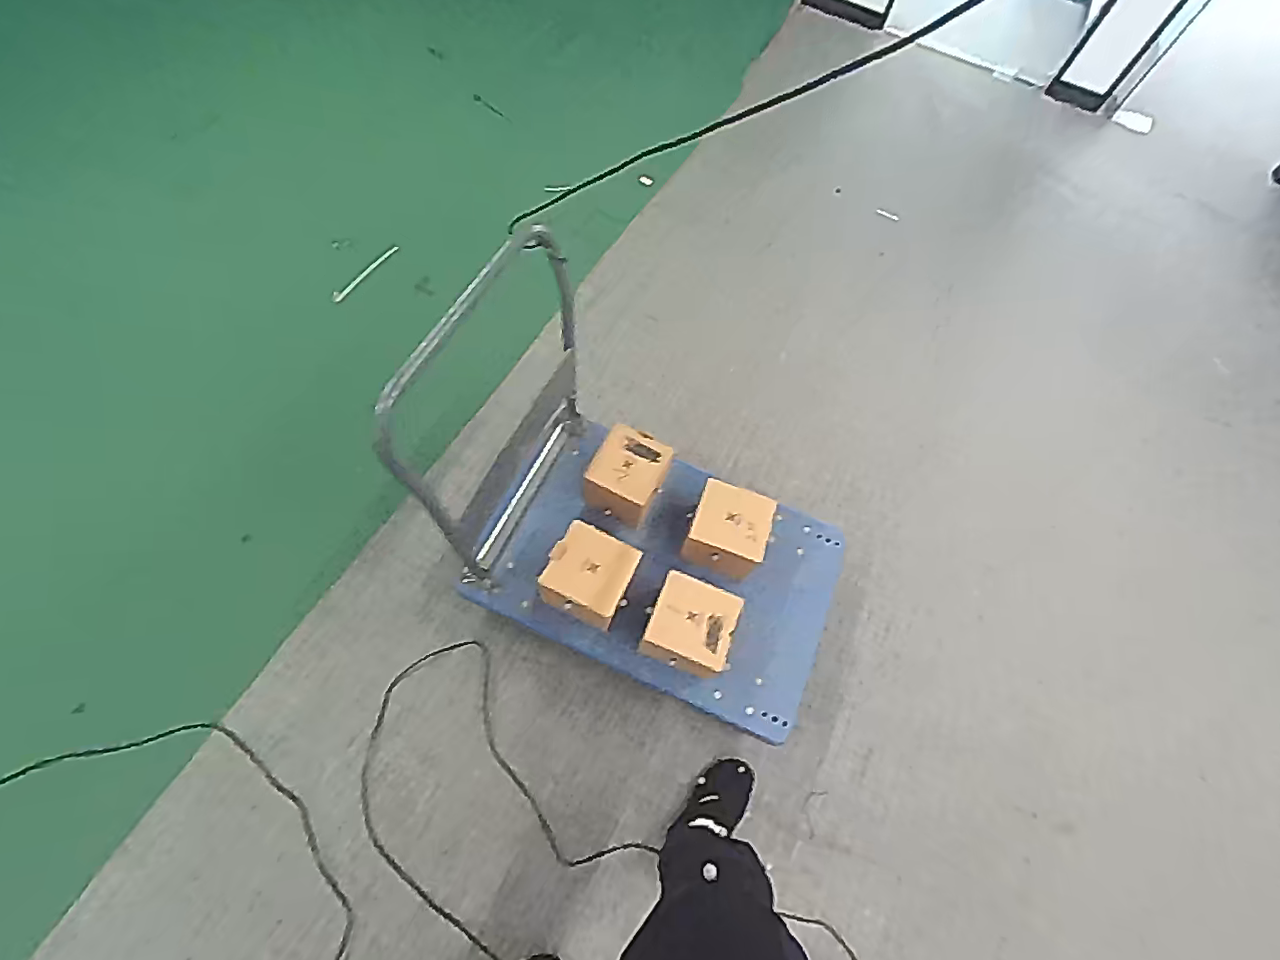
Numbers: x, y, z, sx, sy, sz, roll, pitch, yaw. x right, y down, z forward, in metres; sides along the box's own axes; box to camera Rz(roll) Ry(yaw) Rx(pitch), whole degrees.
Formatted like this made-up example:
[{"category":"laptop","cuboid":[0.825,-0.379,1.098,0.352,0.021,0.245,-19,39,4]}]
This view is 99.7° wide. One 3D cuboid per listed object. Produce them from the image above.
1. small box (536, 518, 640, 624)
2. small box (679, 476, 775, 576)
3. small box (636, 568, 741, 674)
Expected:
[{"category":"small box","cuboid":[-0.119,0.217,1.251,0.179,0.176,0.168,25,65,7]},{"category":"small box","cuboid":[0.207,0.120,1.330,0.179,0.176,0.168,21,65,4]},{"category":"small box","cuboid":[0.104,0.326,1.221,0.179,0.176,0.168,23,64,6]}]
